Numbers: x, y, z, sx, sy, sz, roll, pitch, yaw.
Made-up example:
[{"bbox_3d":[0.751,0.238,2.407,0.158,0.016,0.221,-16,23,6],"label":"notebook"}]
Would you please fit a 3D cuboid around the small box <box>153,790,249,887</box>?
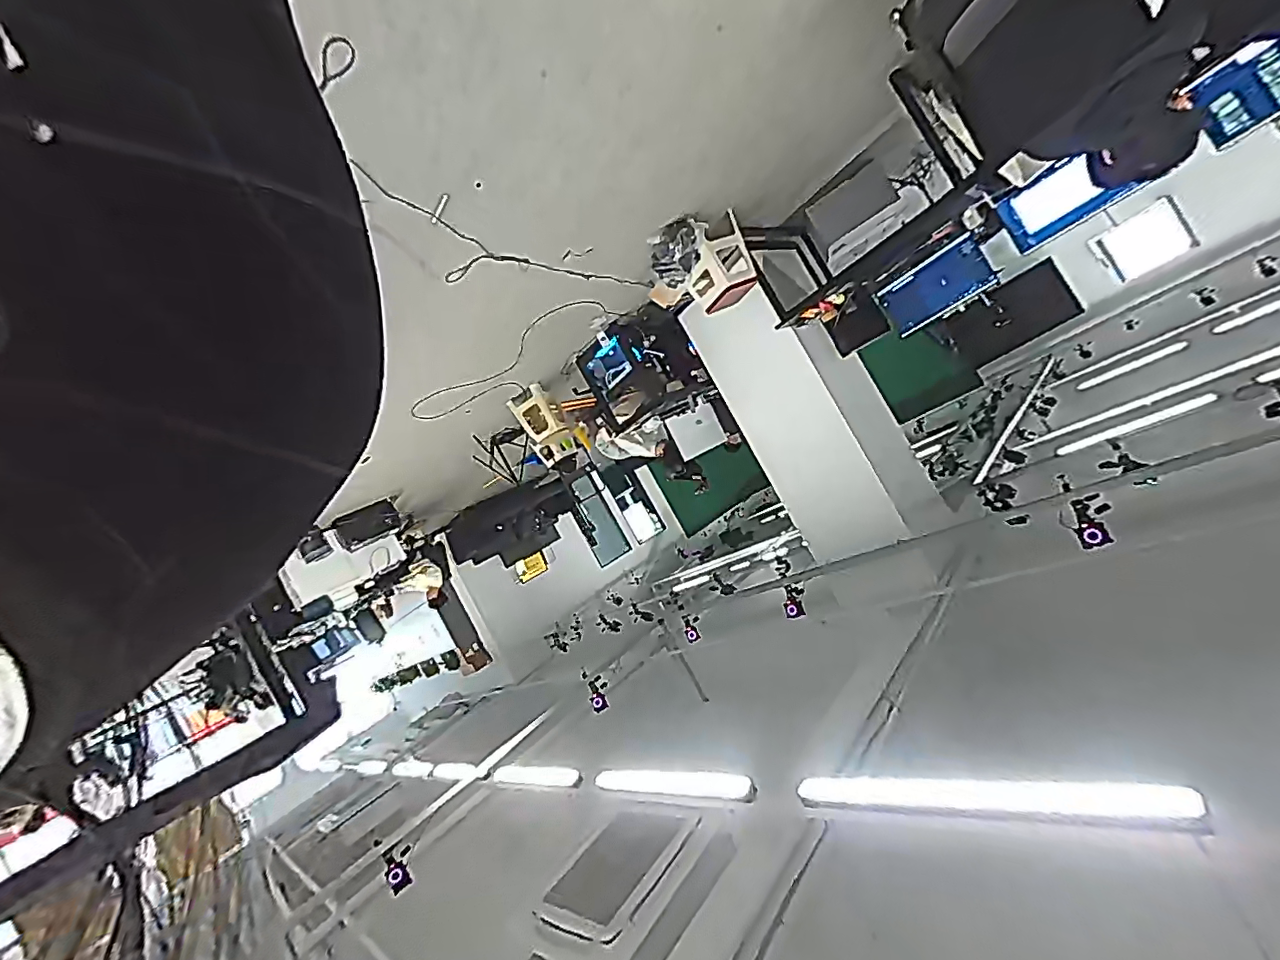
[{"bbox_3d":[-1.285,1.038,1.580,0.179,0.176,0.168,-29,178,42],"label":"small box"}]
